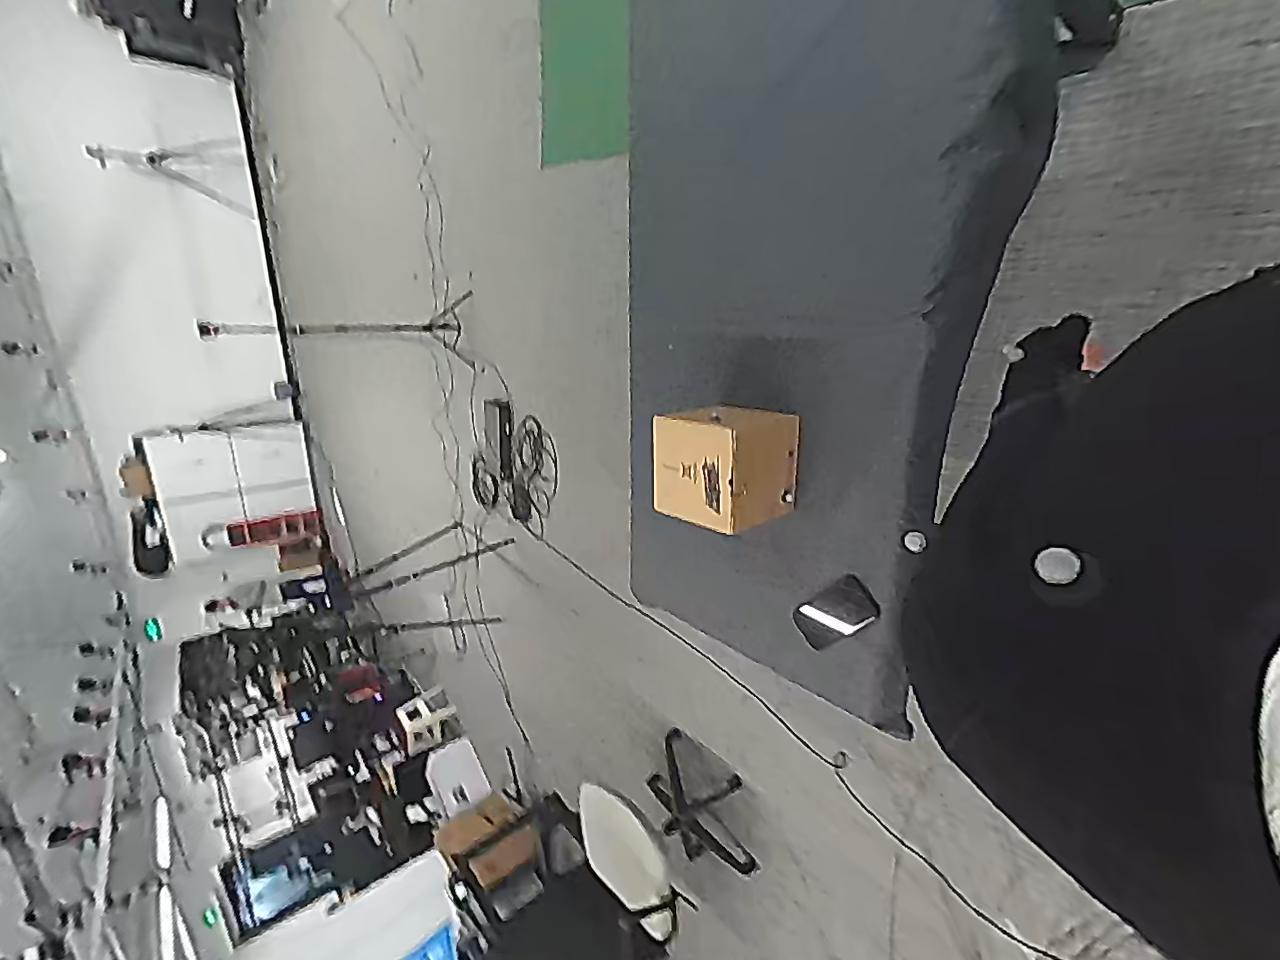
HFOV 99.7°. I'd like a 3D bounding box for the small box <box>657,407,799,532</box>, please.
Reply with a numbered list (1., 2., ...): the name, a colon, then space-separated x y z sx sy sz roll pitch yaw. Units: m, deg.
1. small box: 0.149 -0.029 0.912 0.179 0.176 0.168 16 113 48
